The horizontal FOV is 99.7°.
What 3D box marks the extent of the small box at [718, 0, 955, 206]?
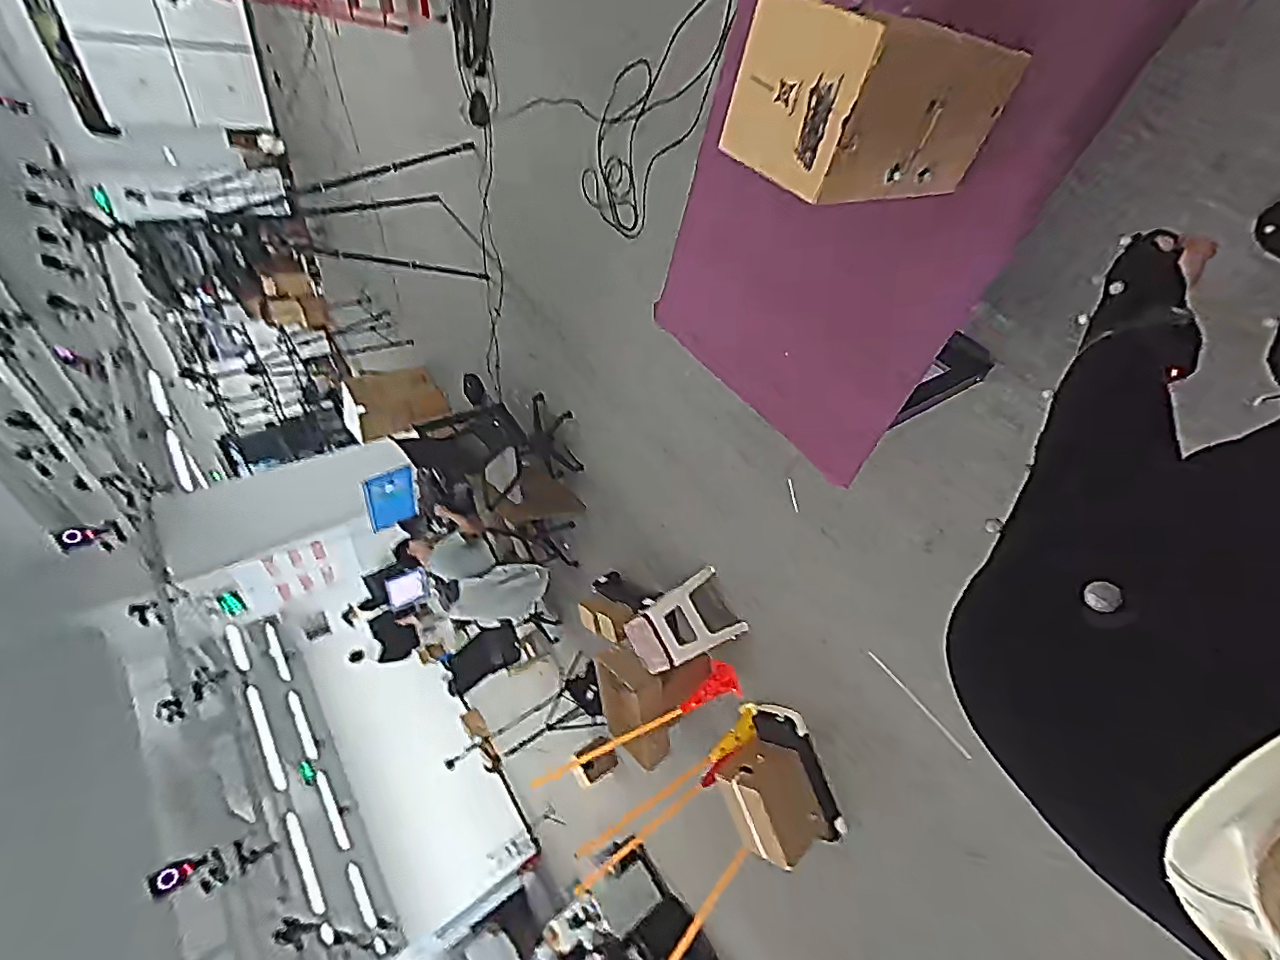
[{"bbox_3d":[0.231,-0.457,0.653,0.179,0.176,0.168,50,144,28],"label":"small box"}]
